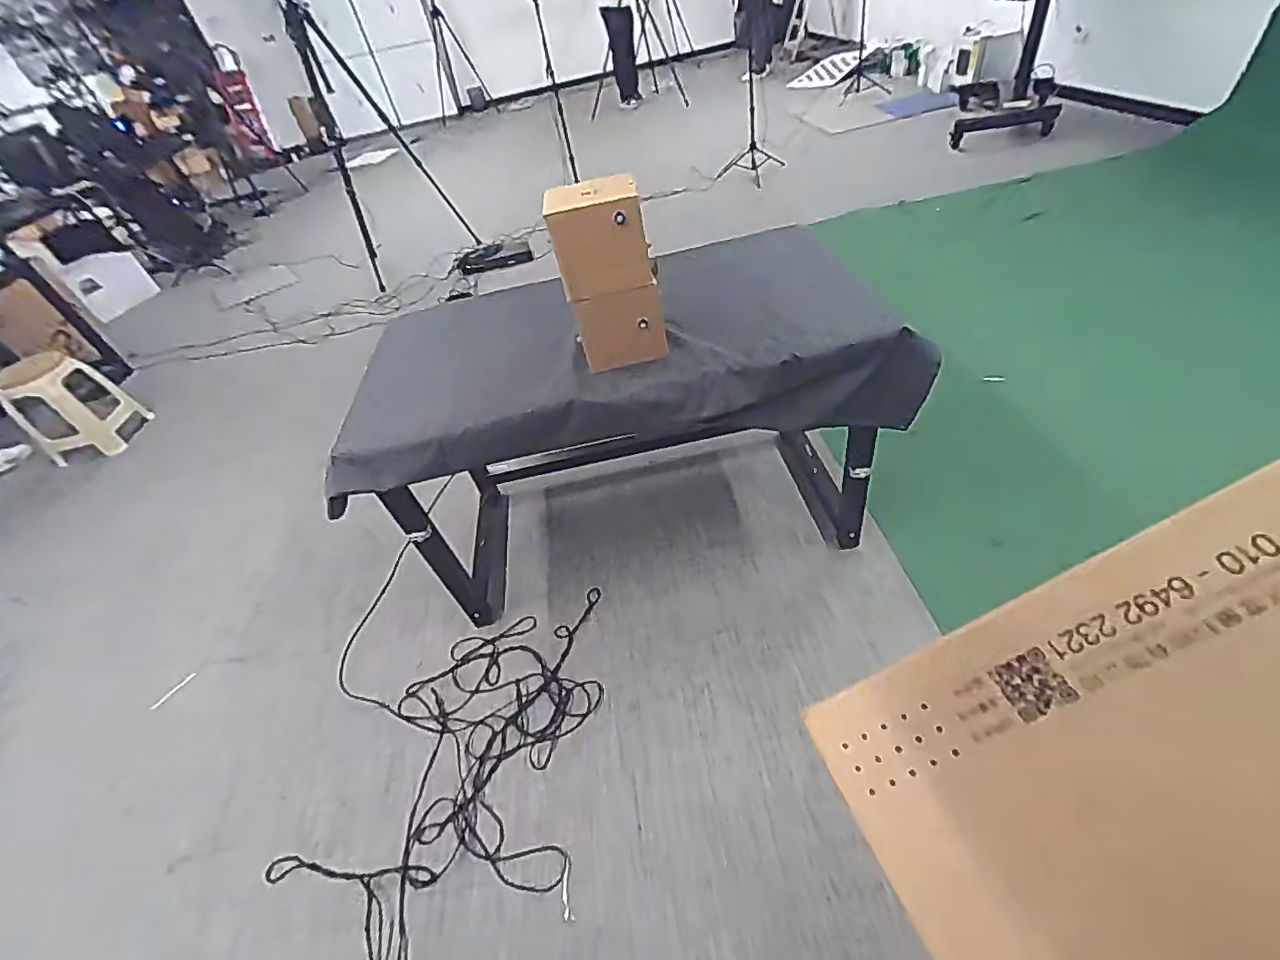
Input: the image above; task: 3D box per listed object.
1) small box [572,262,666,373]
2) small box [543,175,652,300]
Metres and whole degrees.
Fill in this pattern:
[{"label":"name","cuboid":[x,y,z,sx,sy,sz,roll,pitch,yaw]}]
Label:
[{"label":"small box","cuboid":[-0.044,-0.357,1.171,0.179,0.176,0.168,-14,42,2]},{"label":"small box","cuboid":[-0.081,-0.473,1.063,0.179,0.176,0.168,-11,42,2]}]
